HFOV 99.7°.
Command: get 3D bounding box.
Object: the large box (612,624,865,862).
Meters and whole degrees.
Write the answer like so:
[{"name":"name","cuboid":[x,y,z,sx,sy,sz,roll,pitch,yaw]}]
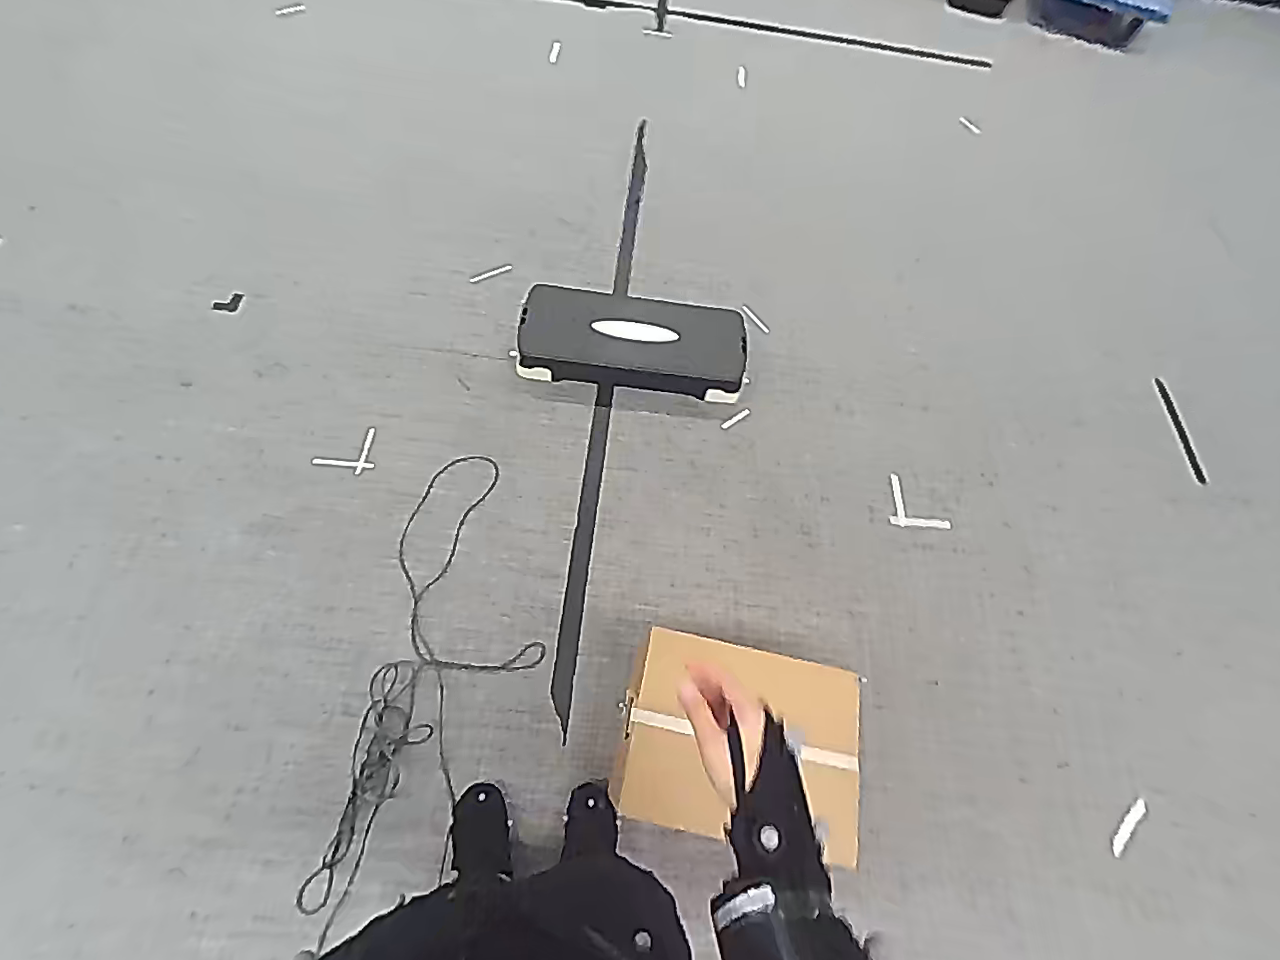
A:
[{"name":"large box","cuboid":[0.176,0.504,1.067,0.408,0.320,0.320,14,65,-1]}]
